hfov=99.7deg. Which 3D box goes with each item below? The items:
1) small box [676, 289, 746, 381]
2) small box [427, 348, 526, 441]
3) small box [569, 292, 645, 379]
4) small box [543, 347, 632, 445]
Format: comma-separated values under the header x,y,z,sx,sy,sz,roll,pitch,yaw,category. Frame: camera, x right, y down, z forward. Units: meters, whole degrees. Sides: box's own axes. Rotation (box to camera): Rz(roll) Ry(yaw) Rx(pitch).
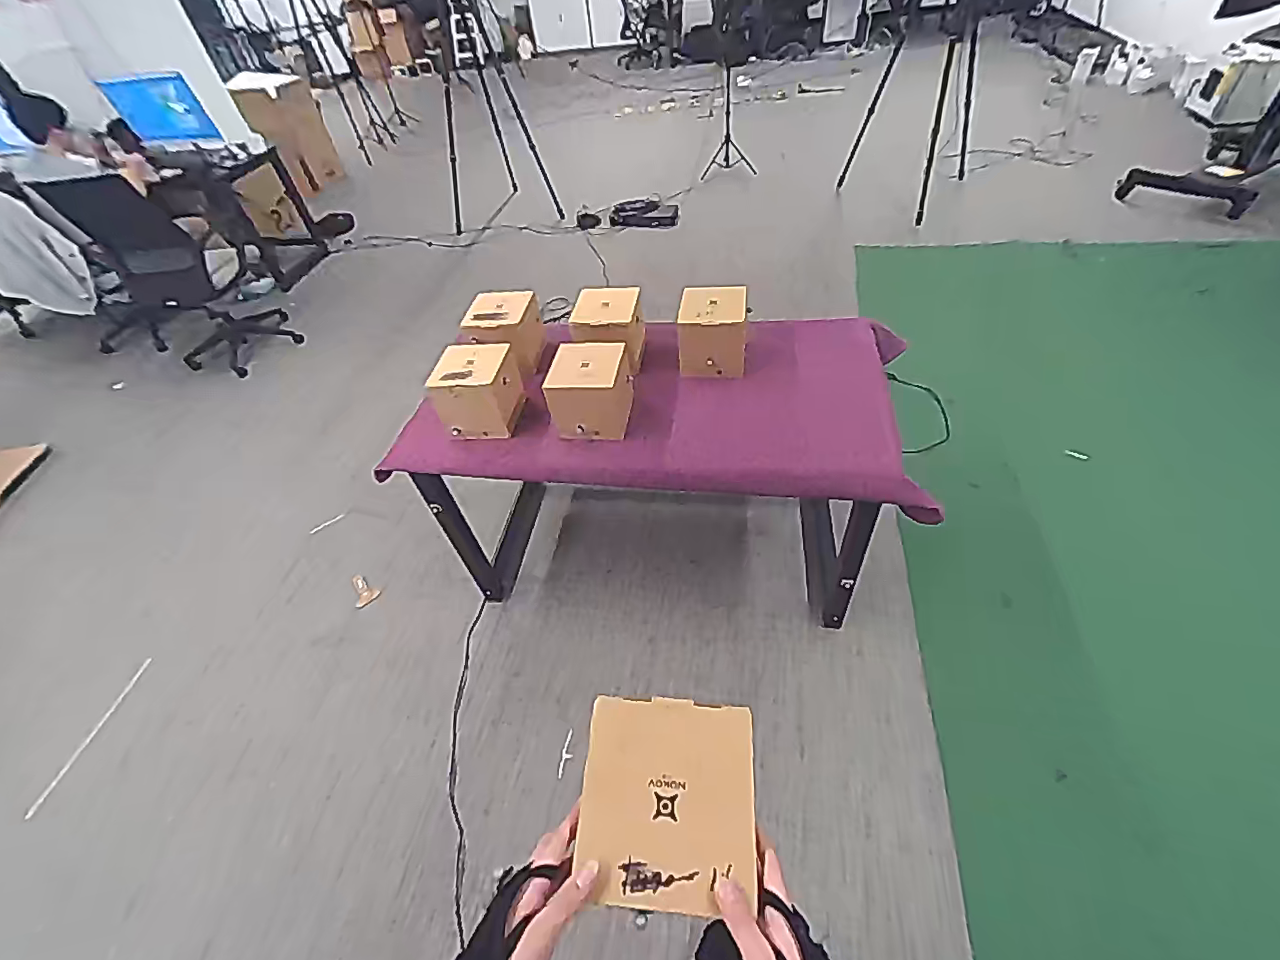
x,y,z,sx,sy,sz,roll,pitch,yaw,category
0.192,-0.383,1.427,0.168,0.176,0.179,2,49,12,small box
-0.402,-0.211,1.363,0.168,0.176,0.179,0,46,9,small box
-0.083,-0.398,1.489,0.168,0.176,0.179,2,49,11,small box
-0.119,-0.206,1.317,0.168,0.176,0.179,2,48,12,small box
